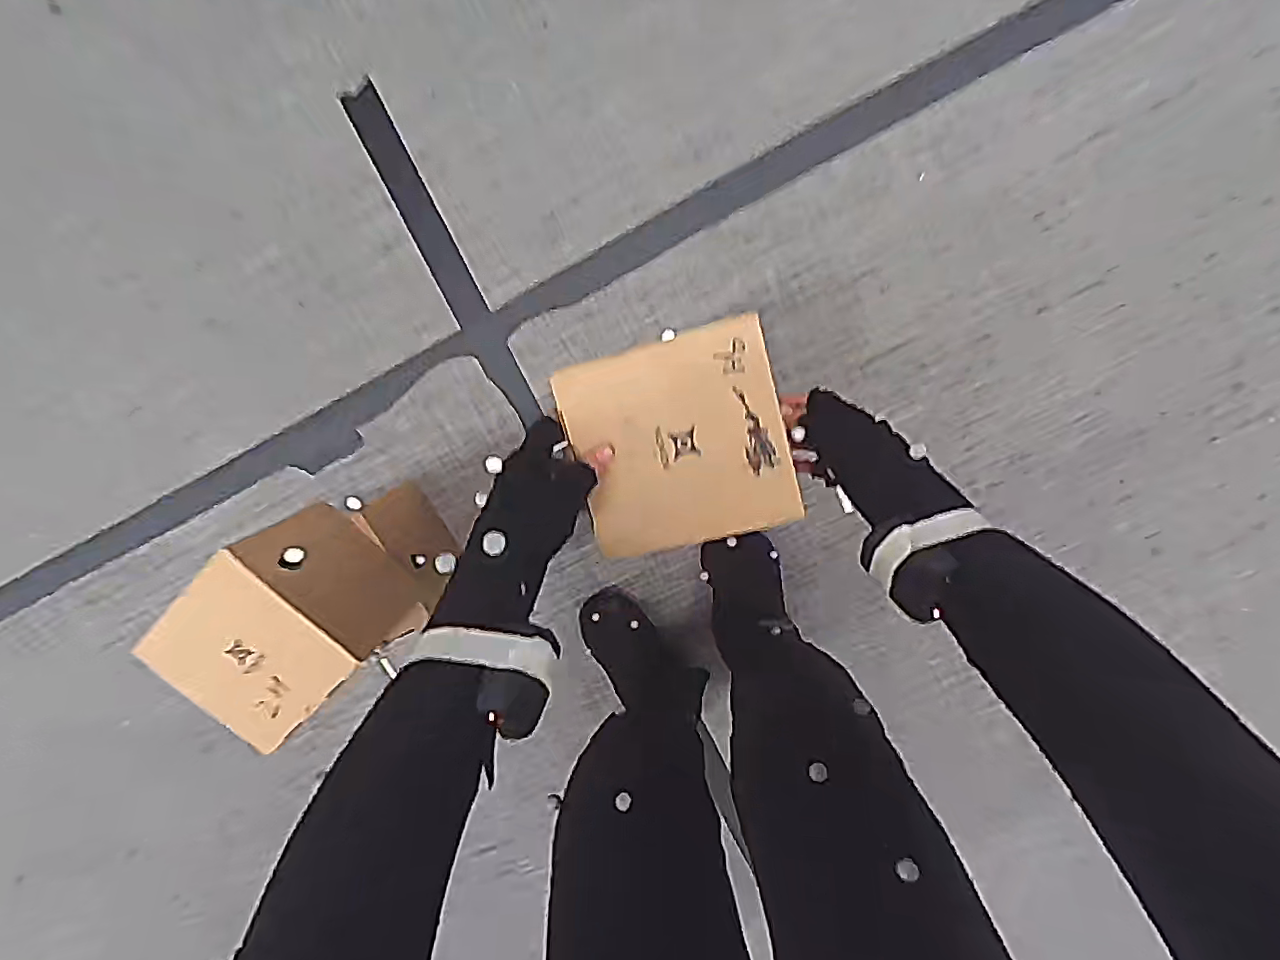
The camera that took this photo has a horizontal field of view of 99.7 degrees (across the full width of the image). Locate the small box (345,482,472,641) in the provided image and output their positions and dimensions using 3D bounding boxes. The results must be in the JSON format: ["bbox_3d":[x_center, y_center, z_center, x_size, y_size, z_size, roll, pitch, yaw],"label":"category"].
[{"bbox_3d":[-0.376,0.127,0.789,0.168,0.176,0.179,-27,102,8],"label":"small box"}]

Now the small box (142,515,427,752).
[{"bbox_3d":[-0.390,0.161,0.628,0.168,0.176,0.179,-40,103,12],"label":"small box"}]

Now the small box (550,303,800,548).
[{"bbox_3d":[0.043,-0.051,0.521,0.179,0.176,0.168,-16,96,14],"label":"small box"}]
